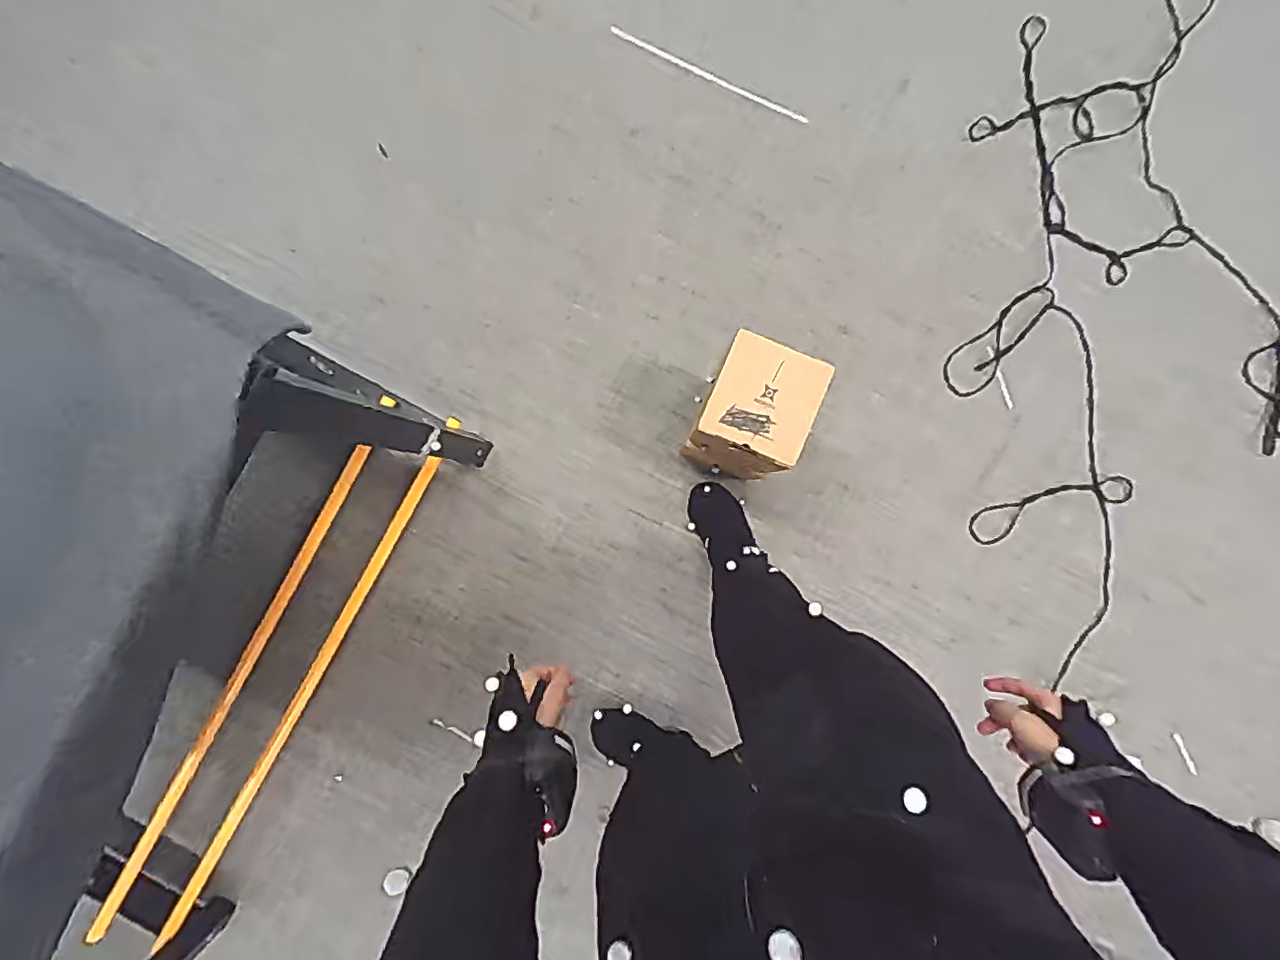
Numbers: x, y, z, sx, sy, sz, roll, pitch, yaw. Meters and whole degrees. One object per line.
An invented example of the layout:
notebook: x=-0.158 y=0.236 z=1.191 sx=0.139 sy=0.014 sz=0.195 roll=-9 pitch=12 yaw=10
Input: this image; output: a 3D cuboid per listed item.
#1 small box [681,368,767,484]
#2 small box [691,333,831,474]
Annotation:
small box: x=0.189 y=-0.102 z=1.091 sx=0.168 sy=0.176 sz=0.179 roll=22 pitch=88 yaw=2
small box: x=0.195 y=-0.119 z=0.928 sx=0.168 sy=0.176 sz=0.179 roll=23 pitch=87 yaw=1
